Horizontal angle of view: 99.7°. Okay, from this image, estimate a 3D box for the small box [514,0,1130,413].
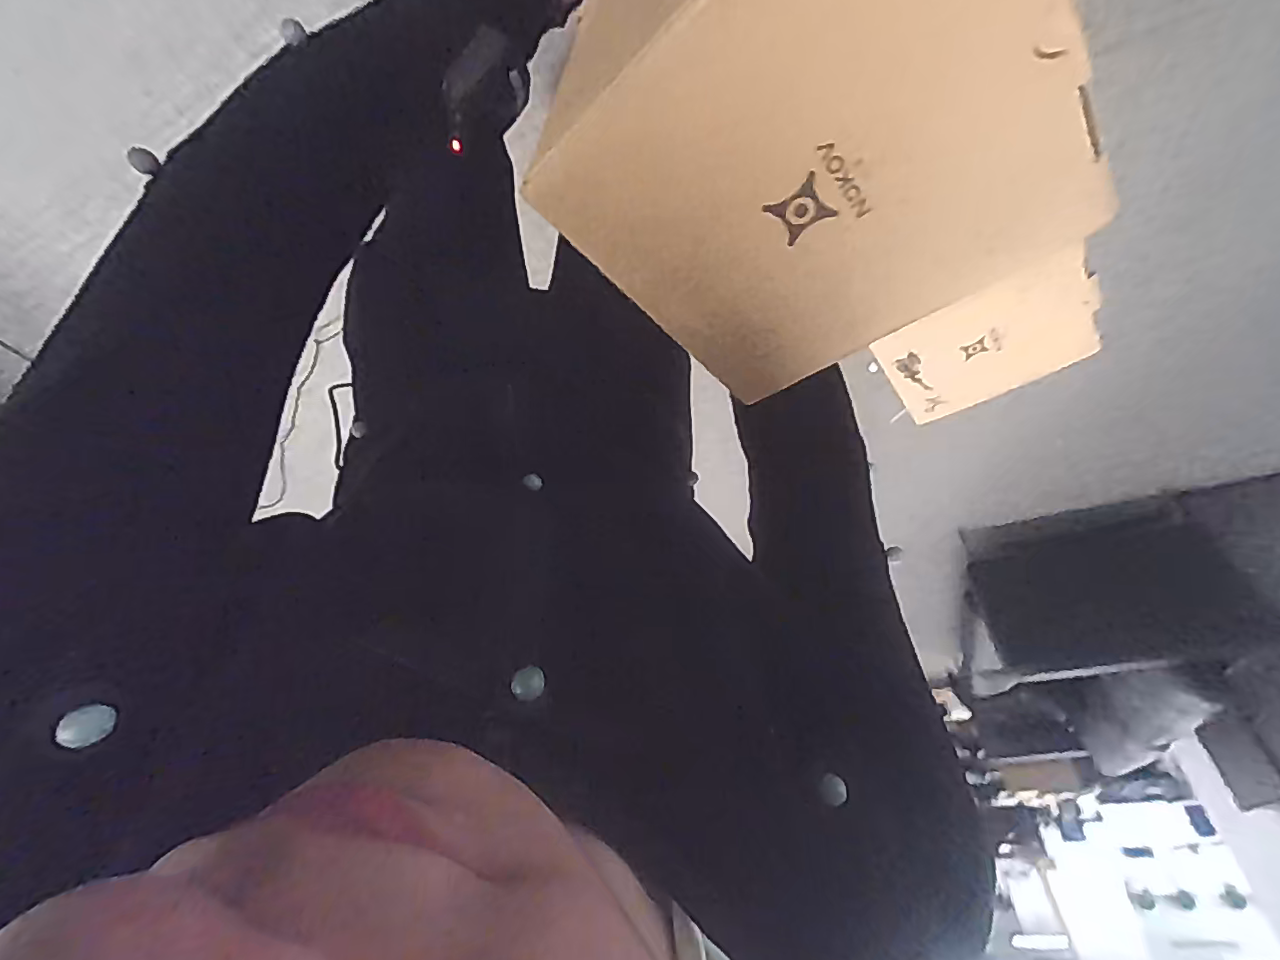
[{"bbox_3d":[0.072,-0.169,0.252,0.179,0.176,0.168,-26,135,35],"label":"small box"}]

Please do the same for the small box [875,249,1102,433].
[{"bbox_3d":[0.329,-0.187,0.562,0.179,0.176,0.168,-26,137,30],"label":"small box"}]
